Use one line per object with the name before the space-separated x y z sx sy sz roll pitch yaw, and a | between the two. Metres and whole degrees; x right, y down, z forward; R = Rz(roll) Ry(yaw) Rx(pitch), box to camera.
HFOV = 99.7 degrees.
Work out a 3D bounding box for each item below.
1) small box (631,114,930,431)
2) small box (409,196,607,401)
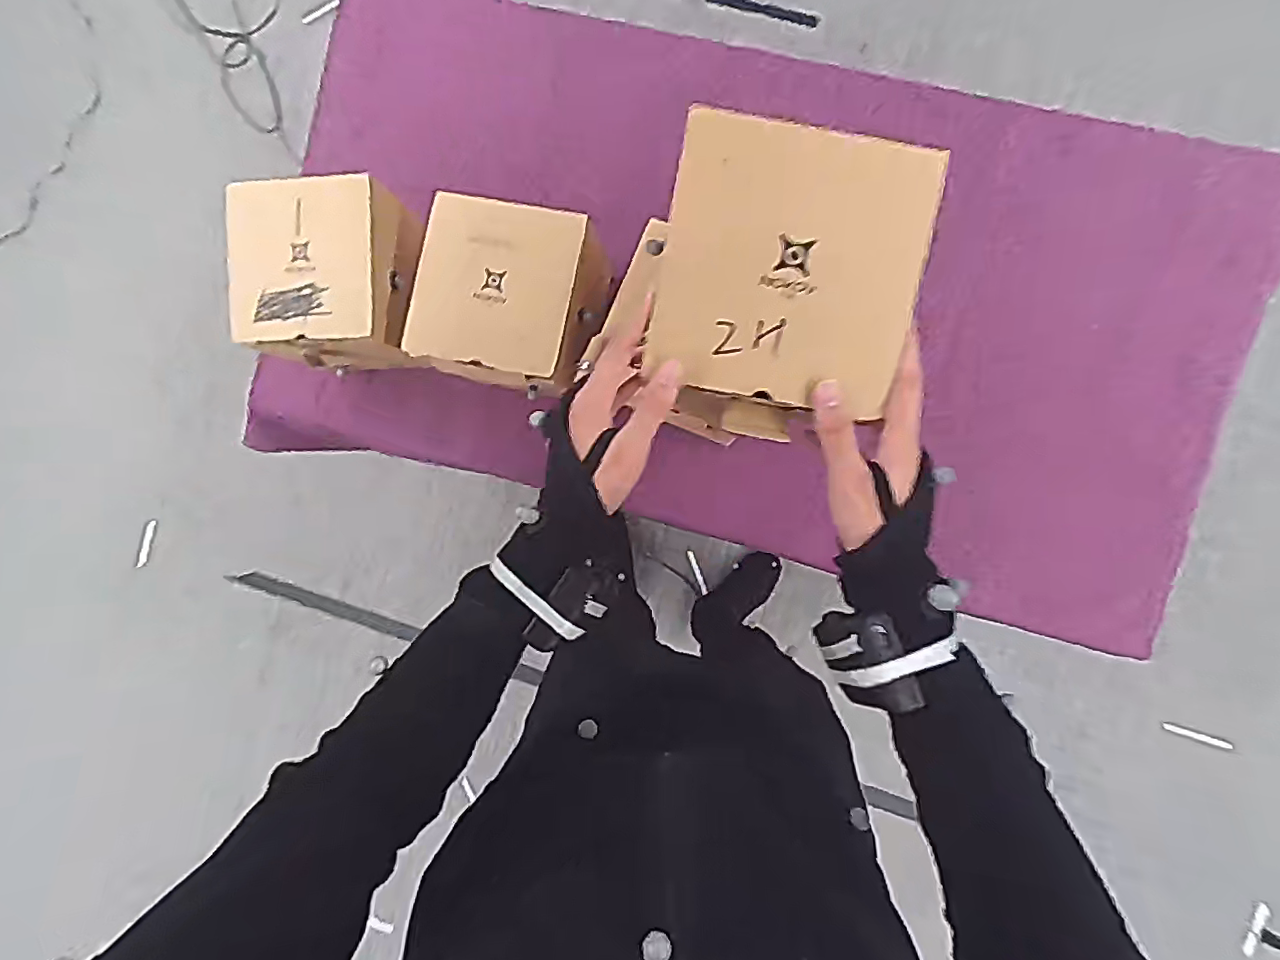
small box | 0.092 -0.141 0.433 0.168 0.176 0.179 12 96 1
small box | -0.142 -0.198 0.641 0.168 0.176 0.179 12 92 5
